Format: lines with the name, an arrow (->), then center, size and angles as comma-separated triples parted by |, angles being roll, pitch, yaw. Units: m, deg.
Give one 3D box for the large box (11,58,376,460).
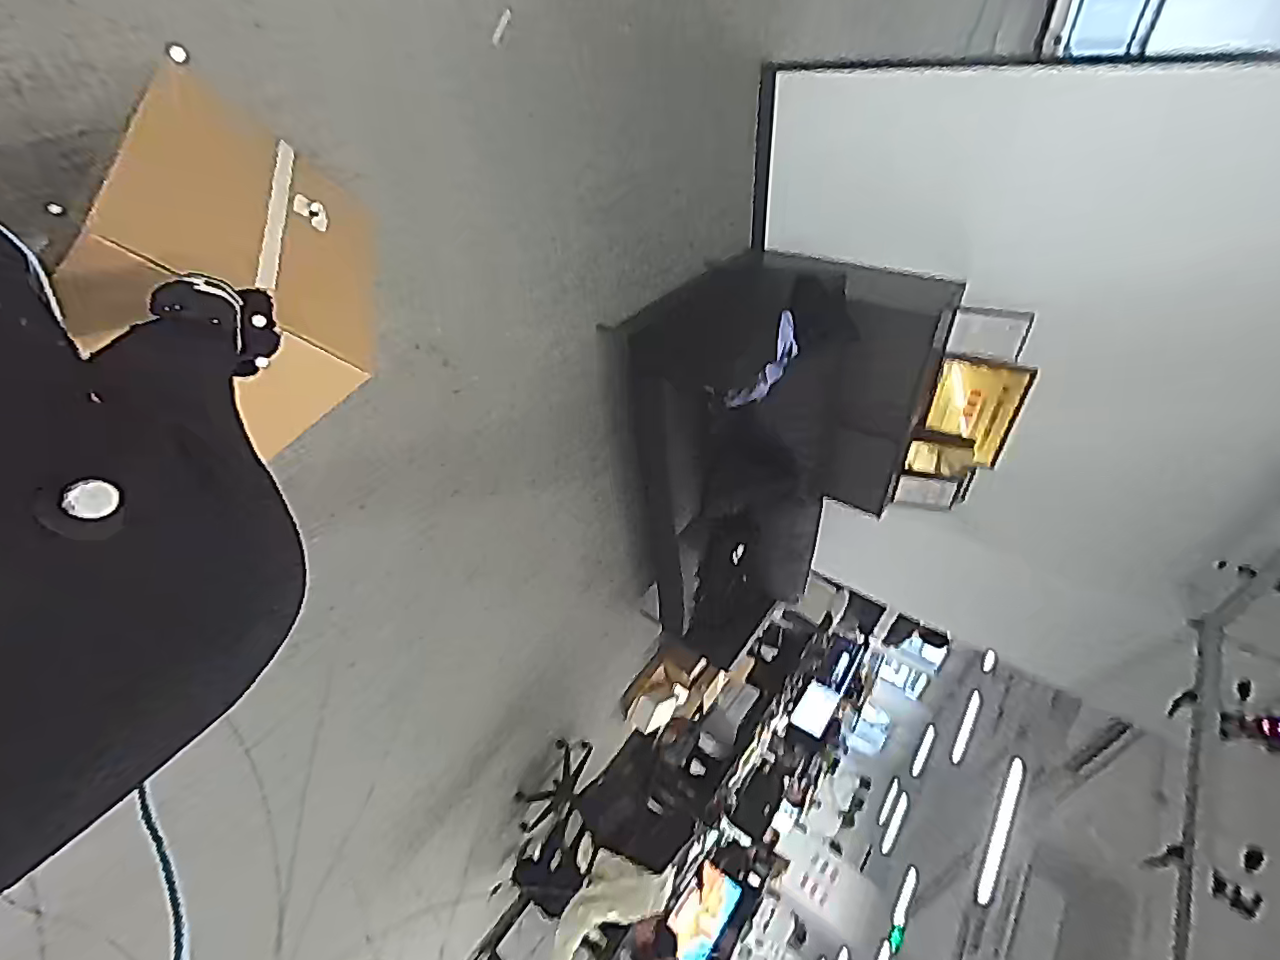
large box -> -0.639, -0.302, 0.825 | 0.320, 0.408, 0.320 | -29, 149, 22
